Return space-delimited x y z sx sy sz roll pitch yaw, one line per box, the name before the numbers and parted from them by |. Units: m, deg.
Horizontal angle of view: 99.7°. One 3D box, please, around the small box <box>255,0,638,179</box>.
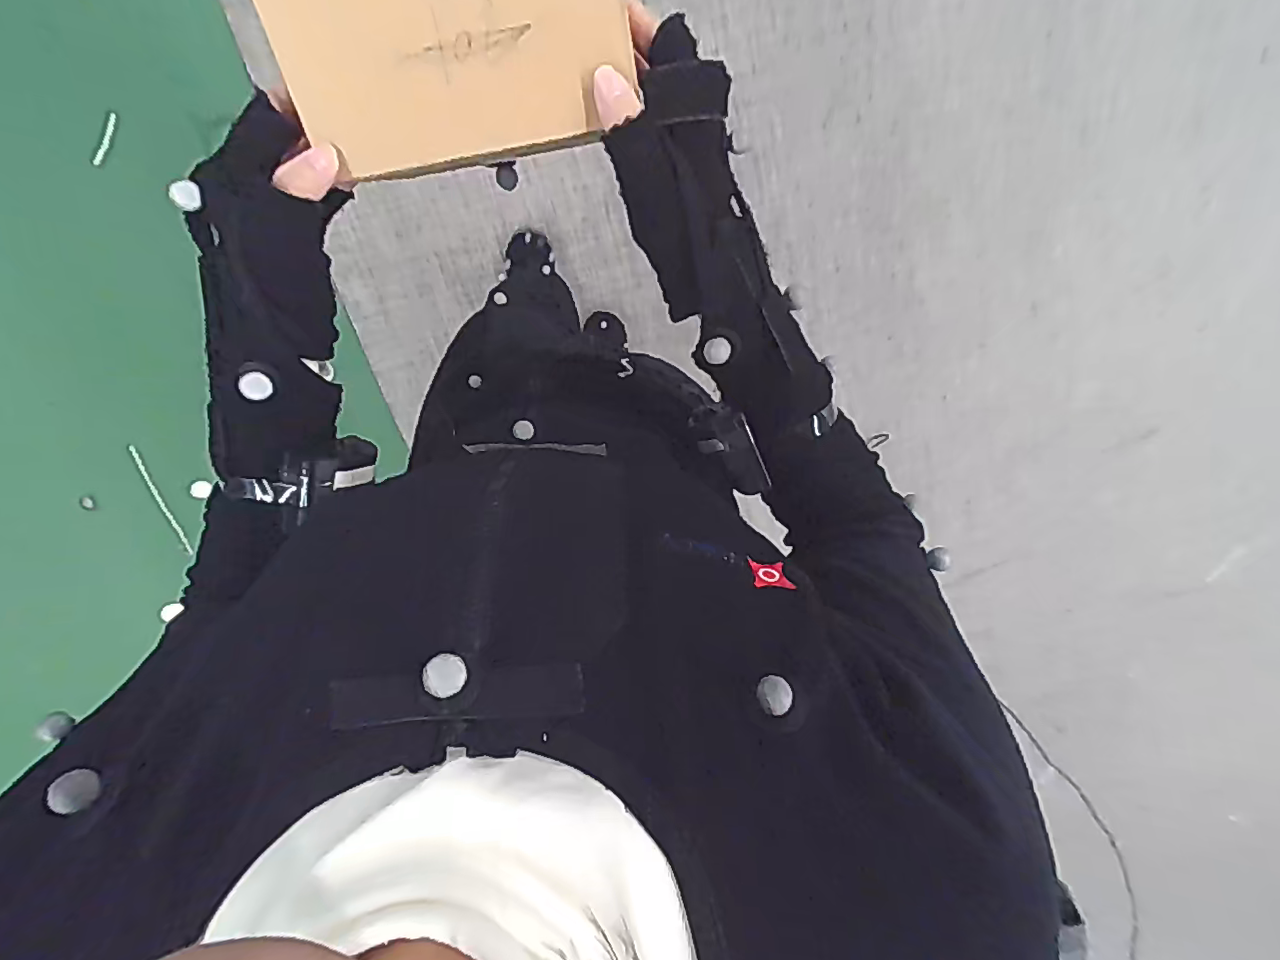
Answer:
small box | -0.099 -0.280 0.301 0.168 0.176 0.179 -10 121 3
